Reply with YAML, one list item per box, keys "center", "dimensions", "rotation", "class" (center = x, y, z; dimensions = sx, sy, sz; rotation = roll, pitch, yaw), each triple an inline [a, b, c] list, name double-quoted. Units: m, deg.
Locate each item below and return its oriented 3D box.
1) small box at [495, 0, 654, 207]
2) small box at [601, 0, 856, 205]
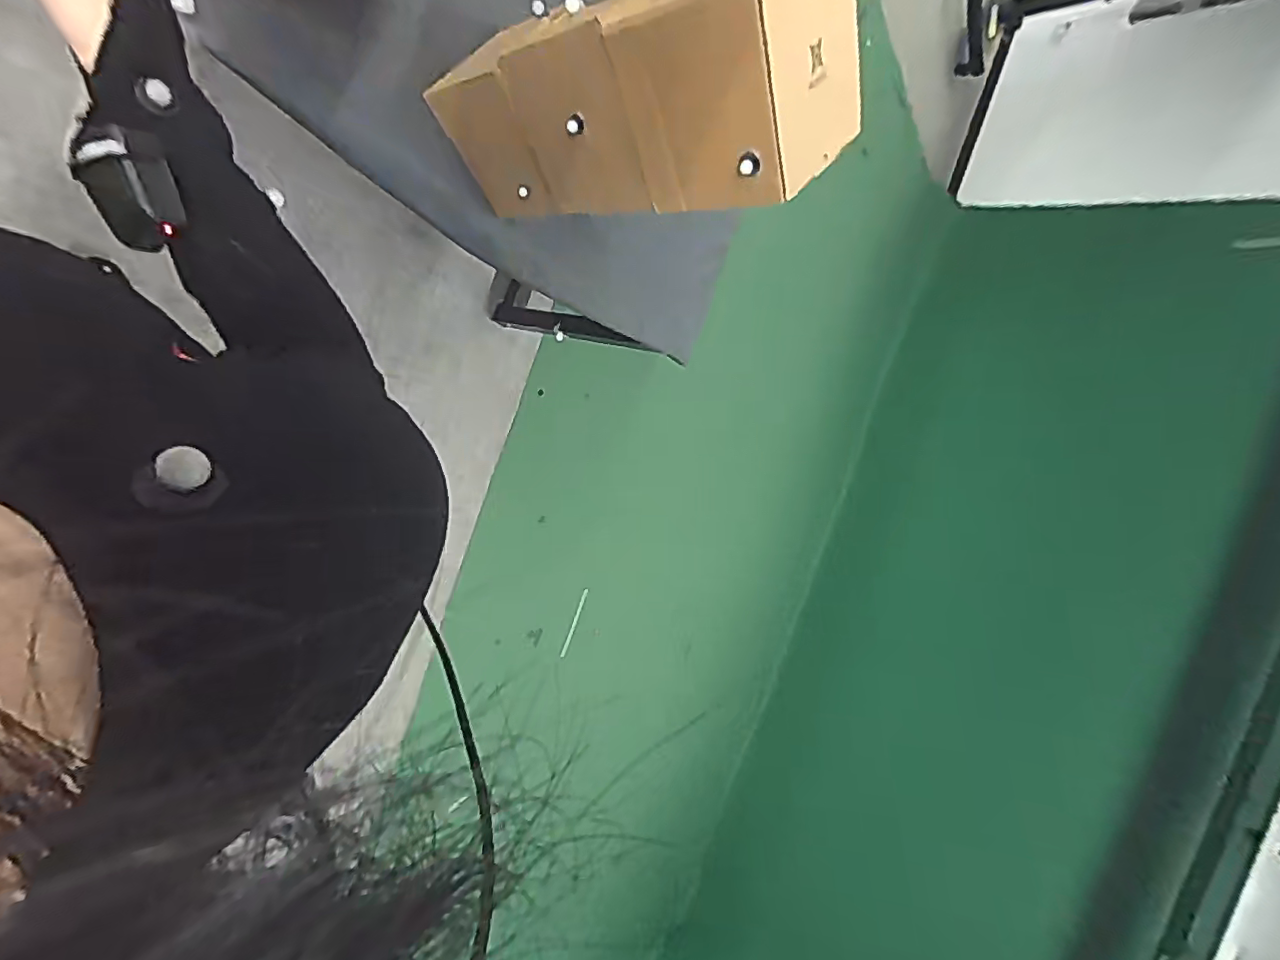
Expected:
- center: [-0.030, -0.438, 0.623]
  dimensions: [0.168, 0.176, 0.179]
  rotation: [-49, 136, -24]
  class: "small box"
- center: [0.090, -0.391, 0.524]
  dimensions: [0.168, 0.176, 0.179]
  rotation: [-49, 137, -24]
  class: "small box"
